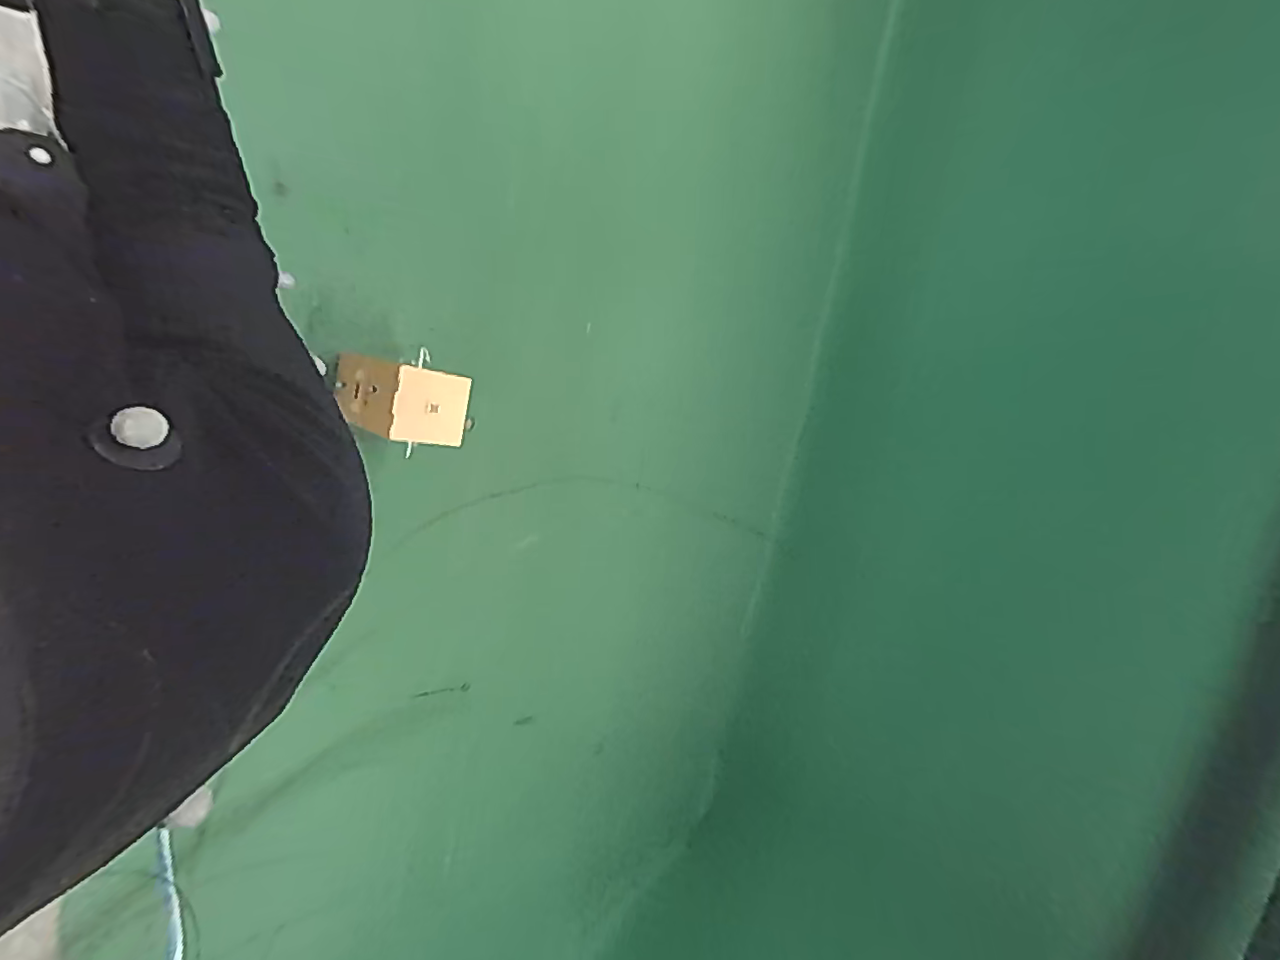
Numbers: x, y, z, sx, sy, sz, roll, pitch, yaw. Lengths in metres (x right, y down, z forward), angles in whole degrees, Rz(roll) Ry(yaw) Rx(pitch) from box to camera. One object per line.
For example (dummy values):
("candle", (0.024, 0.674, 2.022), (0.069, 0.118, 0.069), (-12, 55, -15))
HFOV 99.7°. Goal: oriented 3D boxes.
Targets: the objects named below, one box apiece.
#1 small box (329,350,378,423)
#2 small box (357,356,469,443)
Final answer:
("small box", (-0.662, -0.231, 1.386), (0.179, 0.176, 0.168), (6, 100, -51))
("small box", (-0.540, -0.192, 1.285), (0.179, 0.176, 0.168), (3, 102, -50))
